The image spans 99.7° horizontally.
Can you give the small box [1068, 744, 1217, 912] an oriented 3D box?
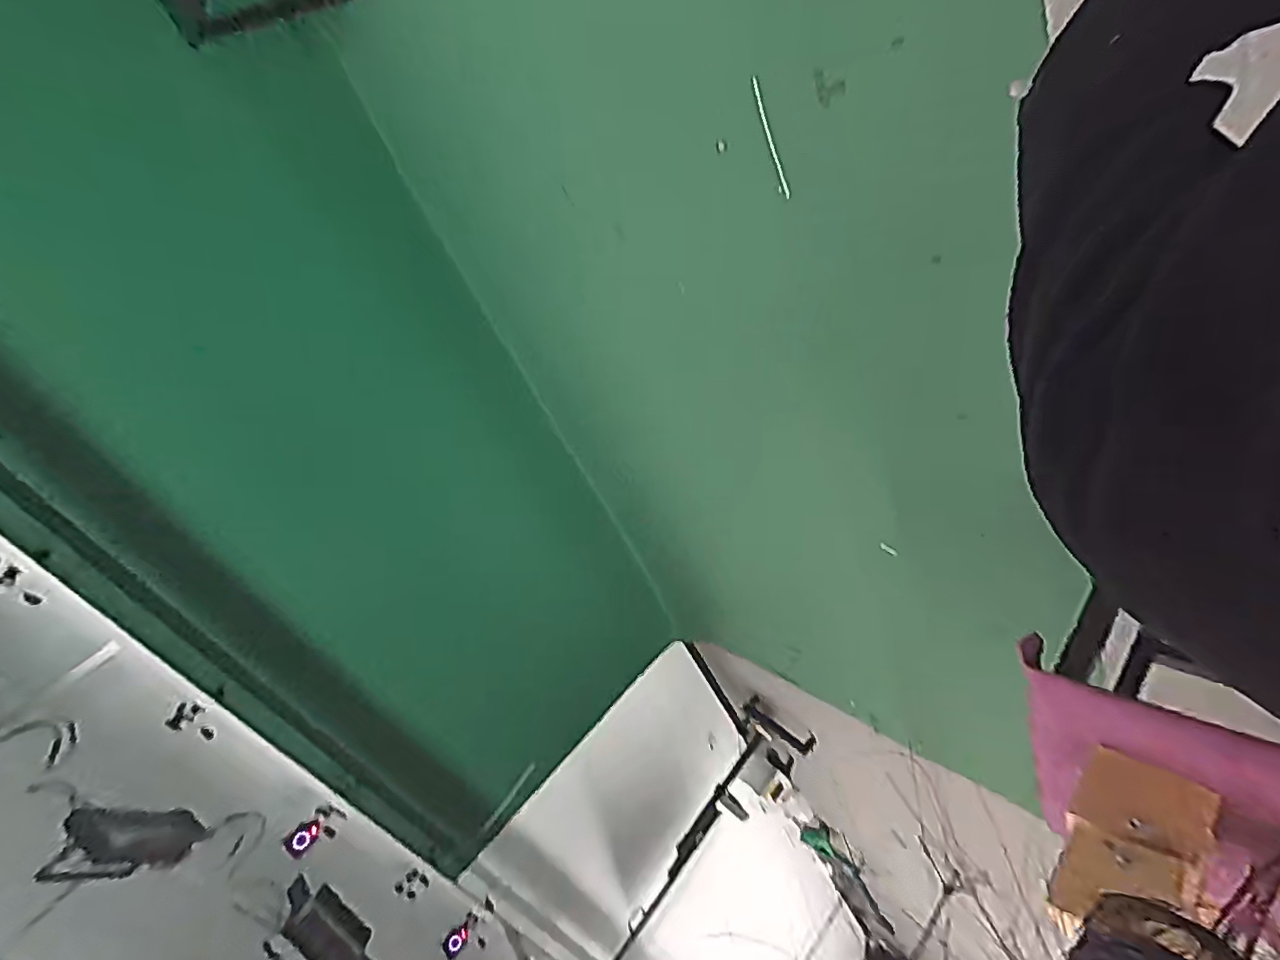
[{"bbox_3d":[0.935,0.636,1.010,0.179,0.176,0.168,14,139,50],"label":"small box"}]
